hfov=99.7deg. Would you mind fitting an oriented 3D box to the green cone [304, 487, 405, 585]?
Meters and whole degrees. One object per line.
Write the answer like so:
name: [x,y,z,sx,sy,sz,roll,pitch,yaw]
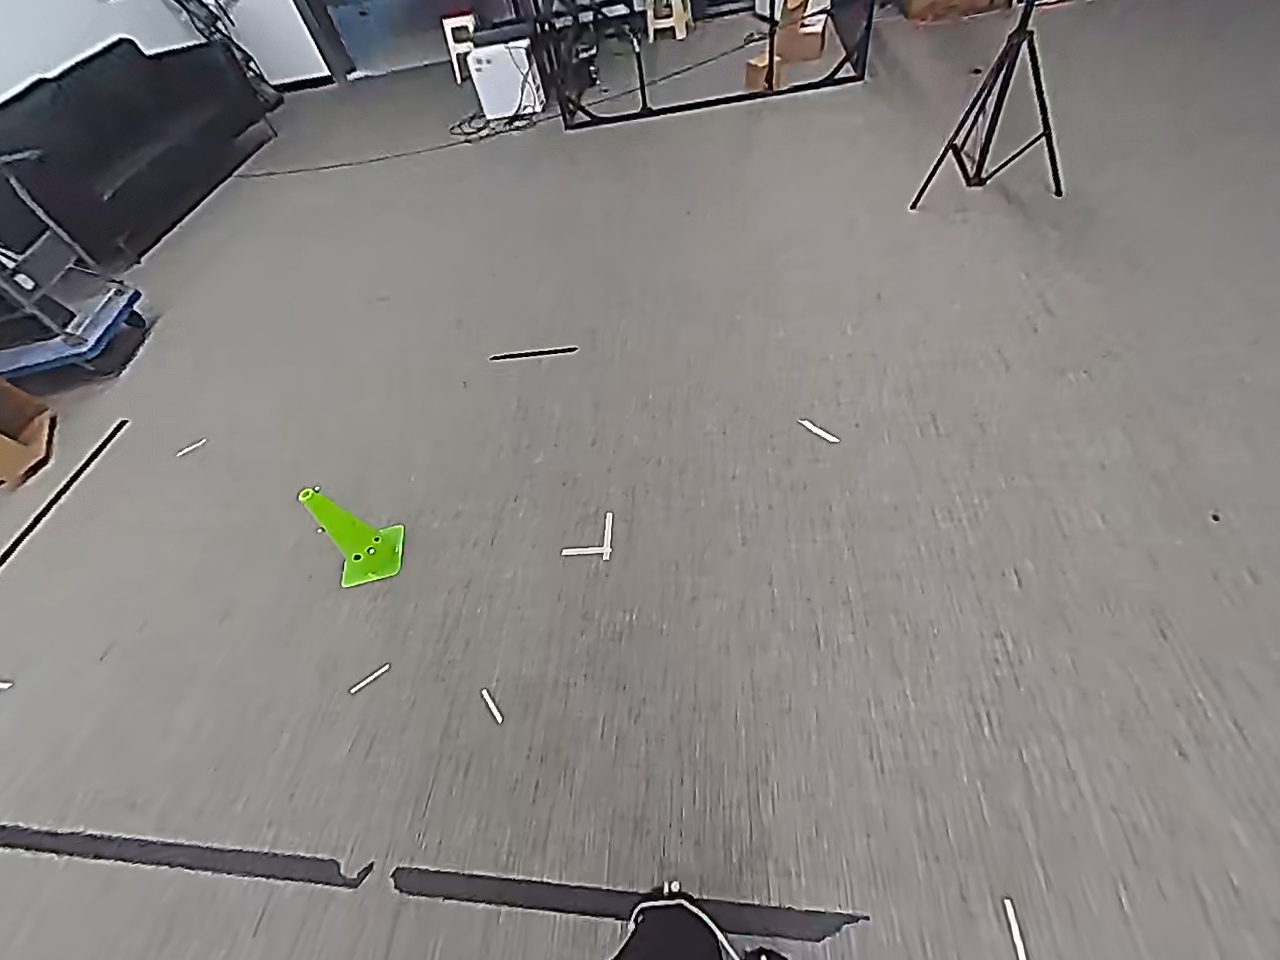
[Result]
green cone: [-0.920,0.149,1.683,0.202,0.368,0.200,-14,52,0]
